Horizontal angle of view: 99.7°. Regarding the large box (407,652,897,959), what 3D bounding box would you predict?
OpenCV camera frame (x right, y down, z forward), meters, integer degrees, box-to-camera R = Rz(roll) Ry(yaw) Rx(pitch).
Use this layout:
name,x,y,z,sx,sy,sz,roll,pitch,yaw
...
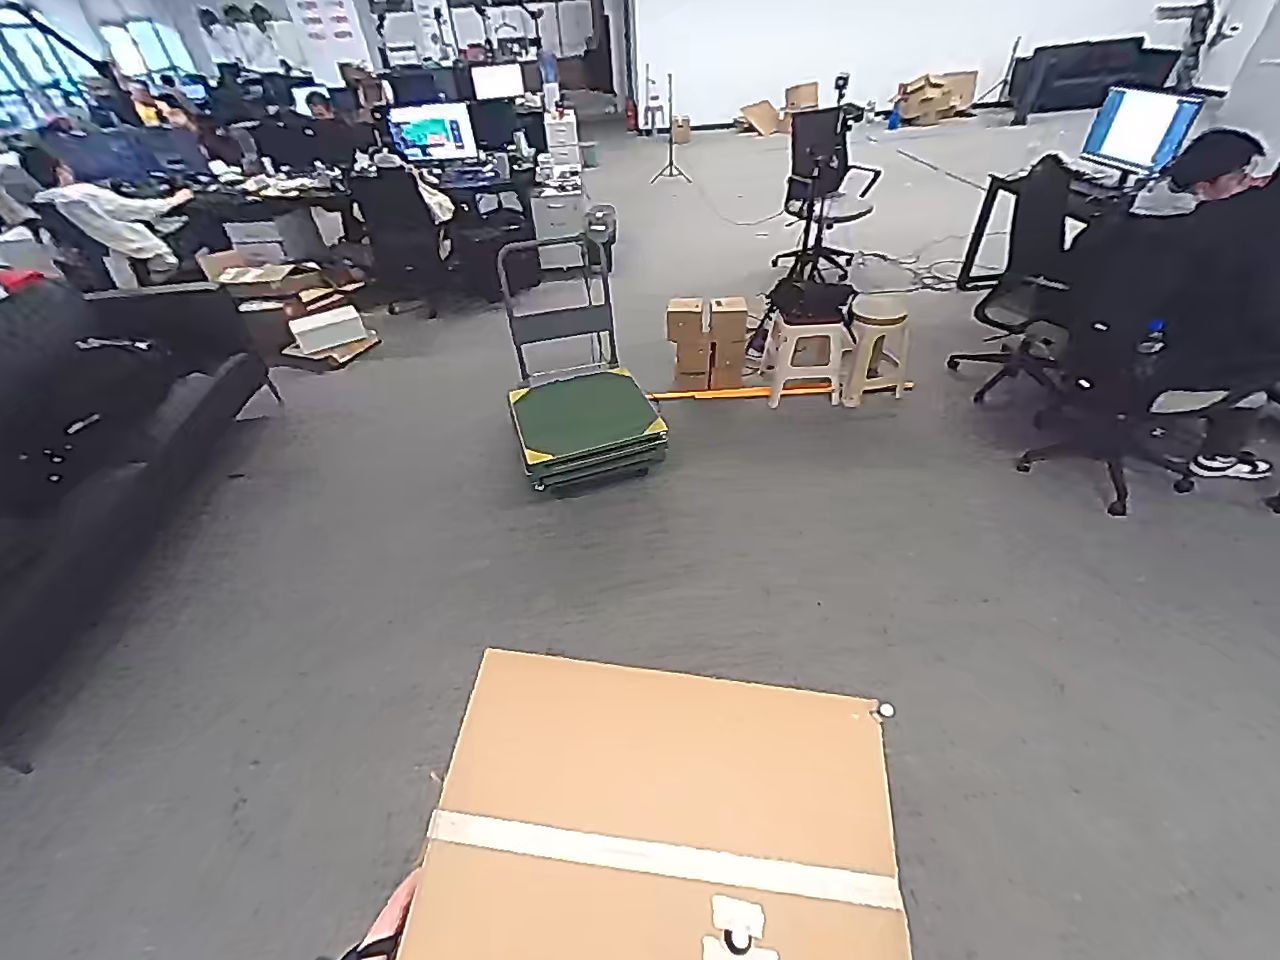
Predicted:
name,x,y,z,sx,sy,sz,roll,pitch,yaw
large box,0.015,0.410,0.602,0.408,0.320,0.320,6,56,3
